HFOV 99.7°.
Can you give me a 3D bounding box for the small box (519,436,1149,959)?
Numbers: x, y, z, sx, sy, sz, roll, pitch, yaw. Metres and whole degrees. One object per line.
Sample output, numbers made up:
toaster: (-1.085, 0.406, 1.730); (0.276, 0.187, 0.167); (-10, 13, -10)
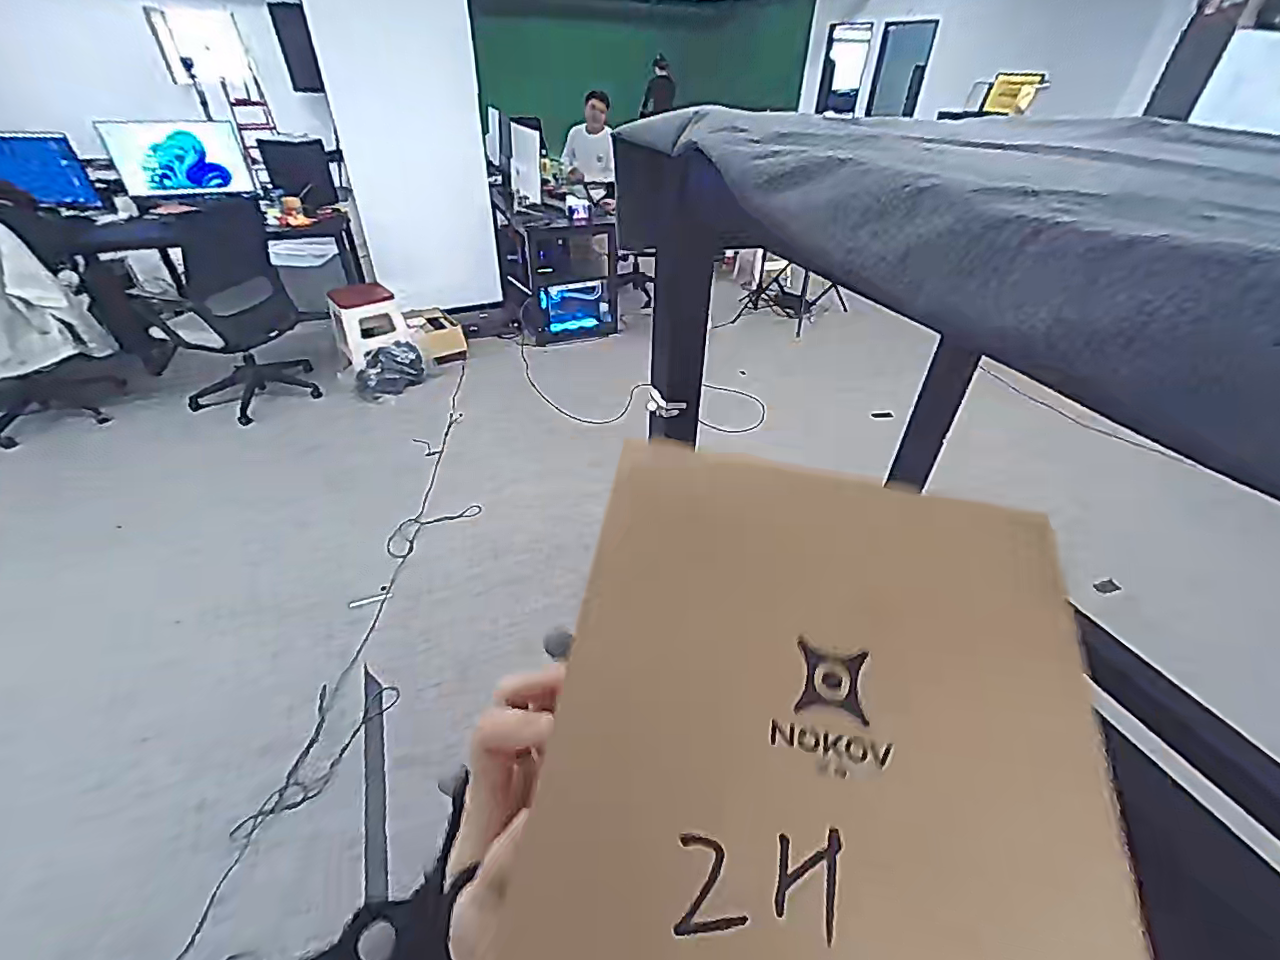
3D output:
small box: (0.058, 0.110, 0.242); (0.168, 0.176, 0.179); (10, 59, 3)
